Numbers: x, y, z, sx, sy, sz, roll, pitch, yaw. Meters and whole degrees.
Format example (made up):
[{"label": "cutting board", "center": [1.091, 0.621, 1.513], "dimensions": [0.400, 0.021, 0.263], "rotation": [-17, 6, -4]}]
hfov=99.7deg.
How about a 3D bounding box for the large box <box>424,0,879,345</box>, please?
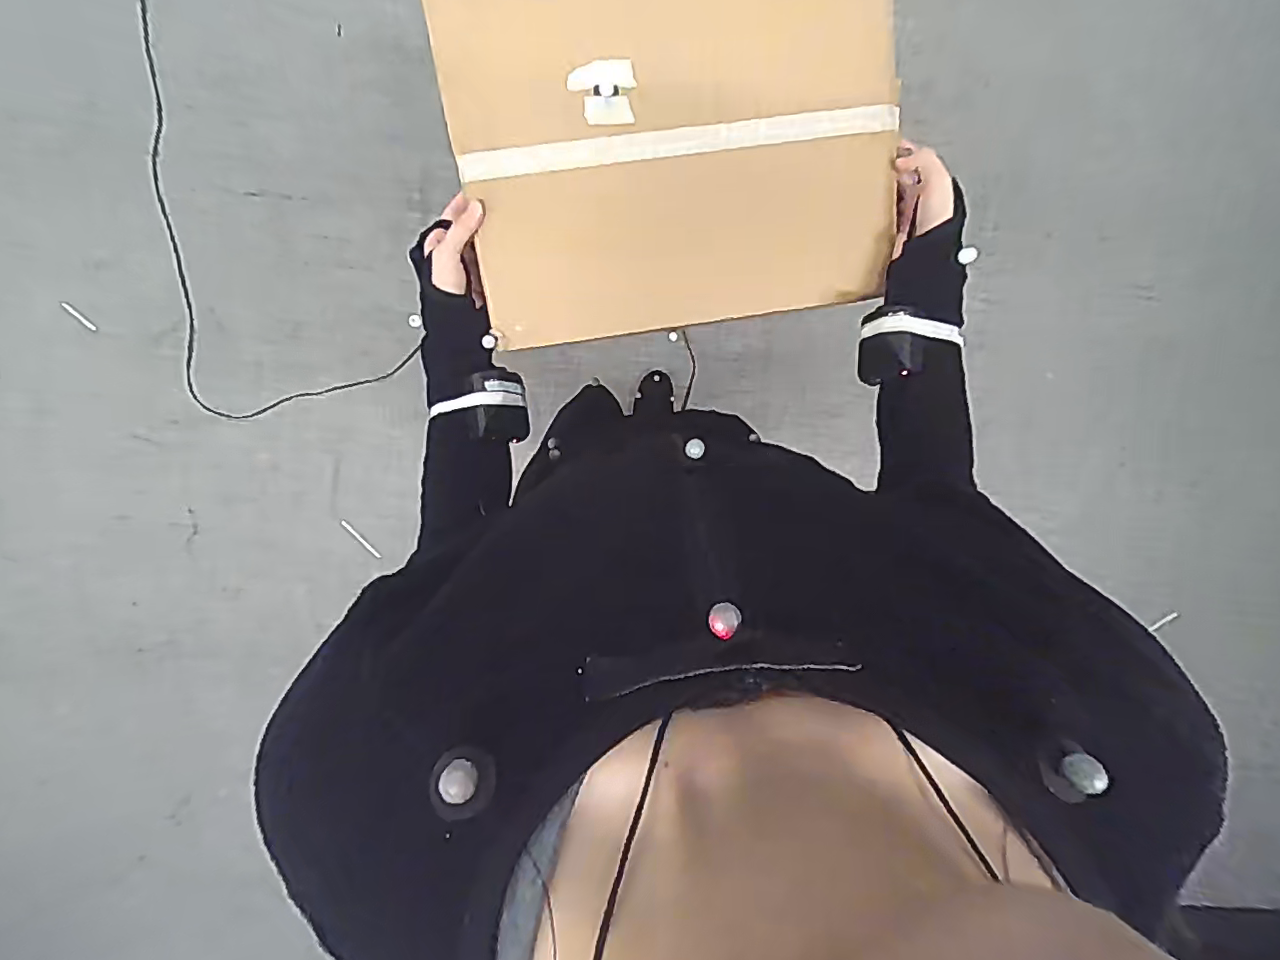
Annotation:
[{"label": "large box", "center": [0.017, -0.352, 0.647], "dimensions": [0.408, 0.320, 0.320], "rotation": [-9, 105, -4]}]
